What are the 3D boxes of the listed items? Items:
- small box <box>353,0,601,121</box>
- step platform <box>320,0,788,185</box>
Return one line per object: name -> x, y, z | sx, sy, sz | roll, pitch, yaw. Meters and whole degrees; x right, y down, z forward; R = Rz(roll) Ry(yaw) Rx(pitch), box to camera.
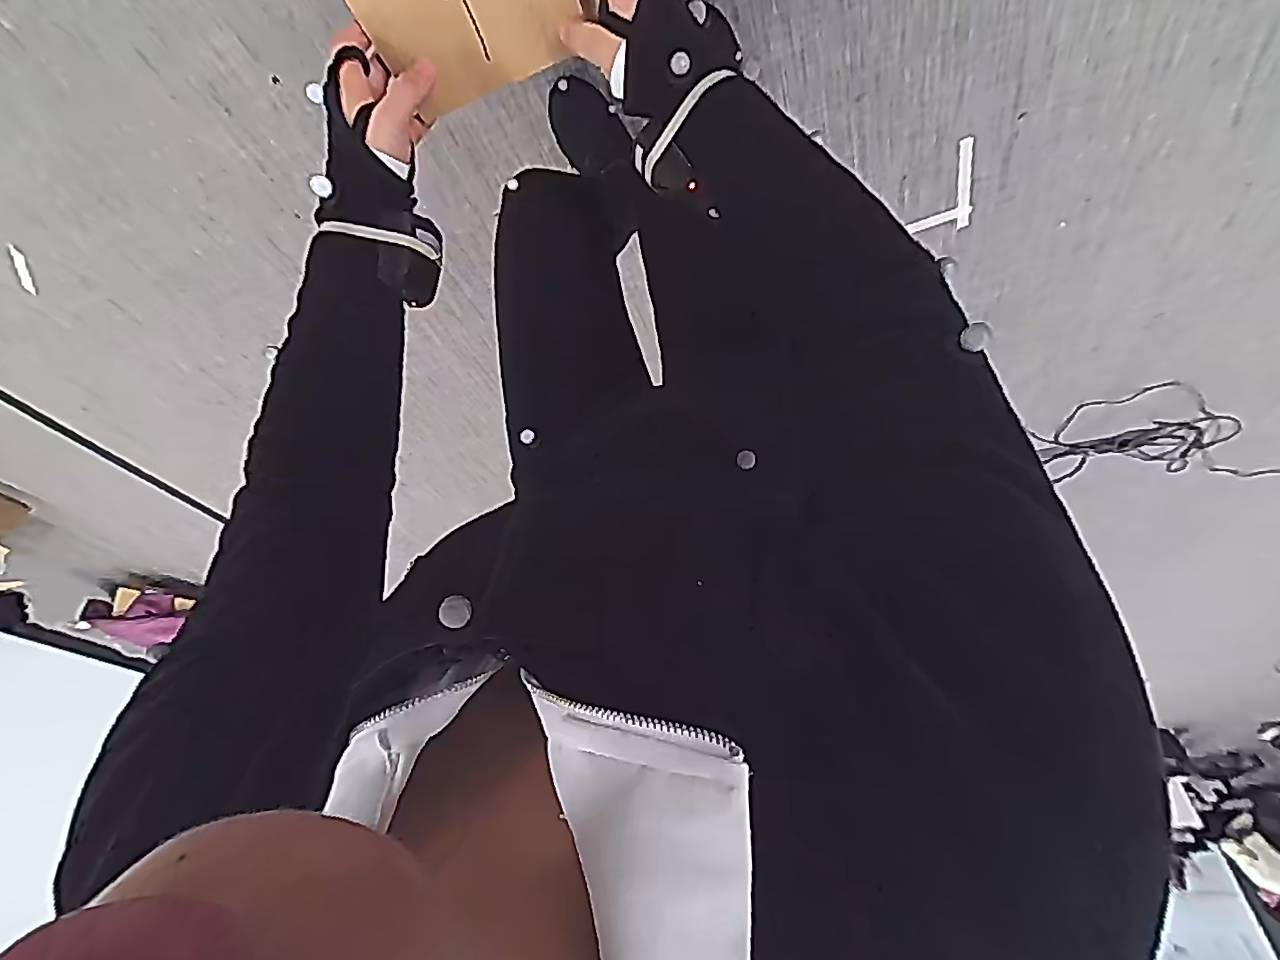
small box -> -0.138, -0.438, 0.427 | 0.168, 0.176, 0.179 | -12, 145, 15
step platform -> 0.029, -0.563, 0.503 | 0.684, 0.204, 0.286 | -14, 139, 18
